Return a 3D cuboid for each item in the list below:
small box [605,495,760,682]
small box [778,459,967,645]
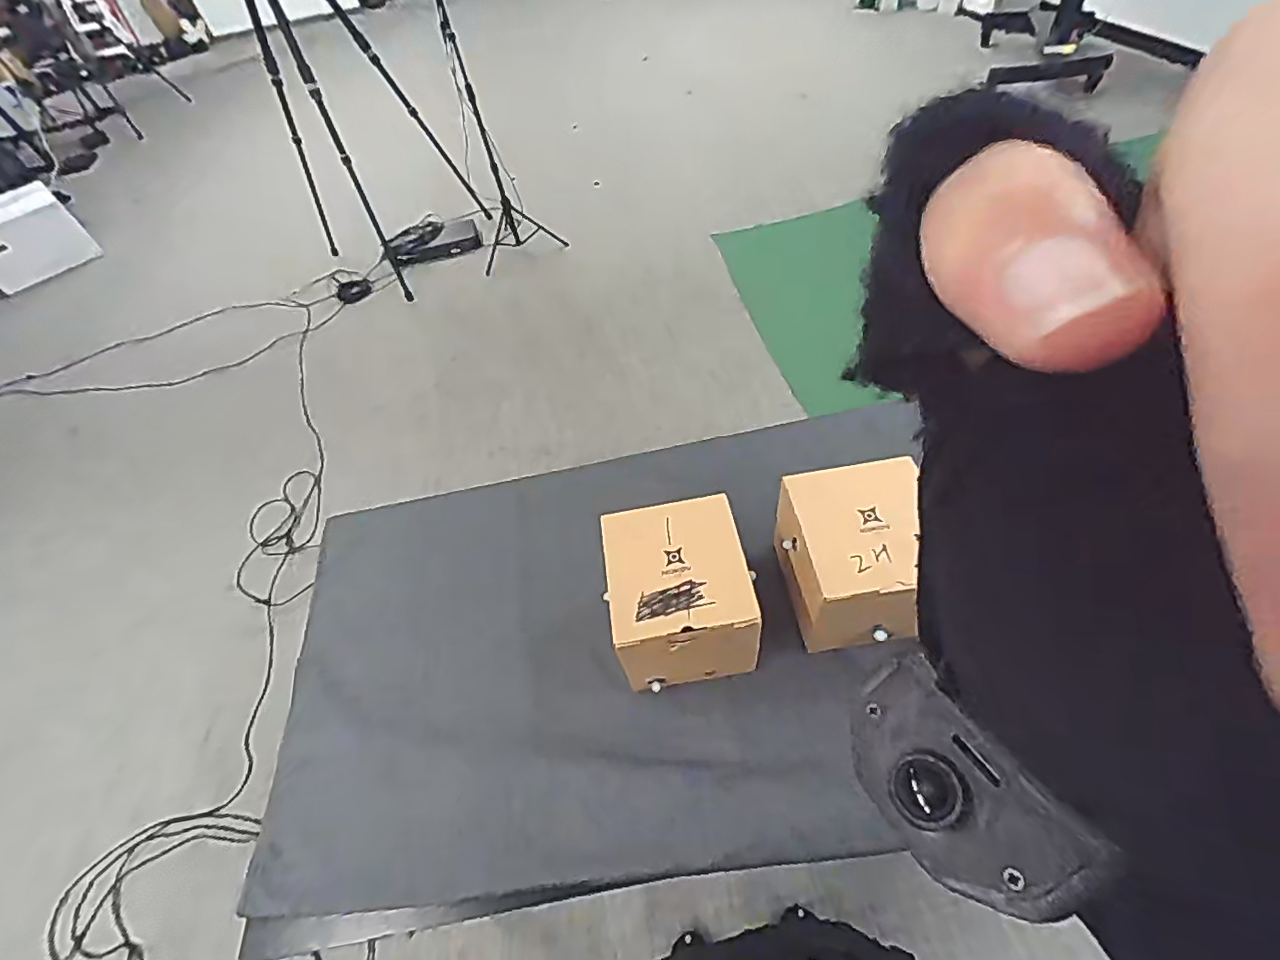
[{"bbox_3d":[0.055,0.148,0.702,0.168,0.176,0.179,-10,51,2],"label":"small box"},{"bbox_3d":[0.281,0.098,0.705,0.168,0.176,0.179,-7,55,5],"label":"small box"}]
